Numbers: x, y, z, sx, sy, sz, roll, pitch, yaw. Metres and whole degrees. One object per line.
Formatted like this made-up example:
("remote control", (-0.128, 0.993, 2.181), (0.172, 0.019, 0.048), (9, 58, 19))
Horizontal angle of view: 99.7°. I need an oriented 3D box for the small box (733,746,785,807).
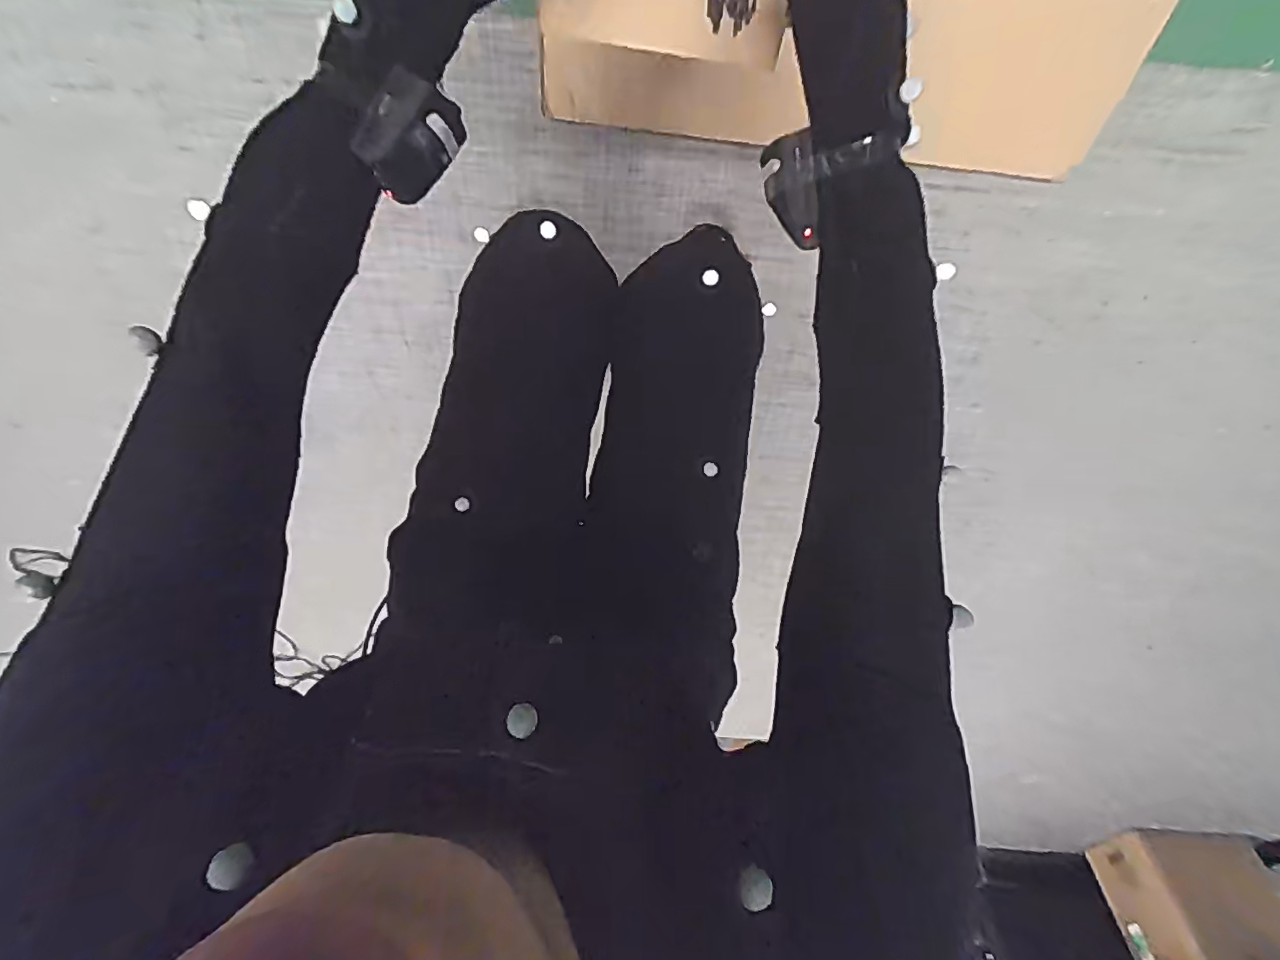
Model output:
("small box", (0.451, 1.140, 2.083), (0.168, 0.176, 0.179), (0, 133, 3))
